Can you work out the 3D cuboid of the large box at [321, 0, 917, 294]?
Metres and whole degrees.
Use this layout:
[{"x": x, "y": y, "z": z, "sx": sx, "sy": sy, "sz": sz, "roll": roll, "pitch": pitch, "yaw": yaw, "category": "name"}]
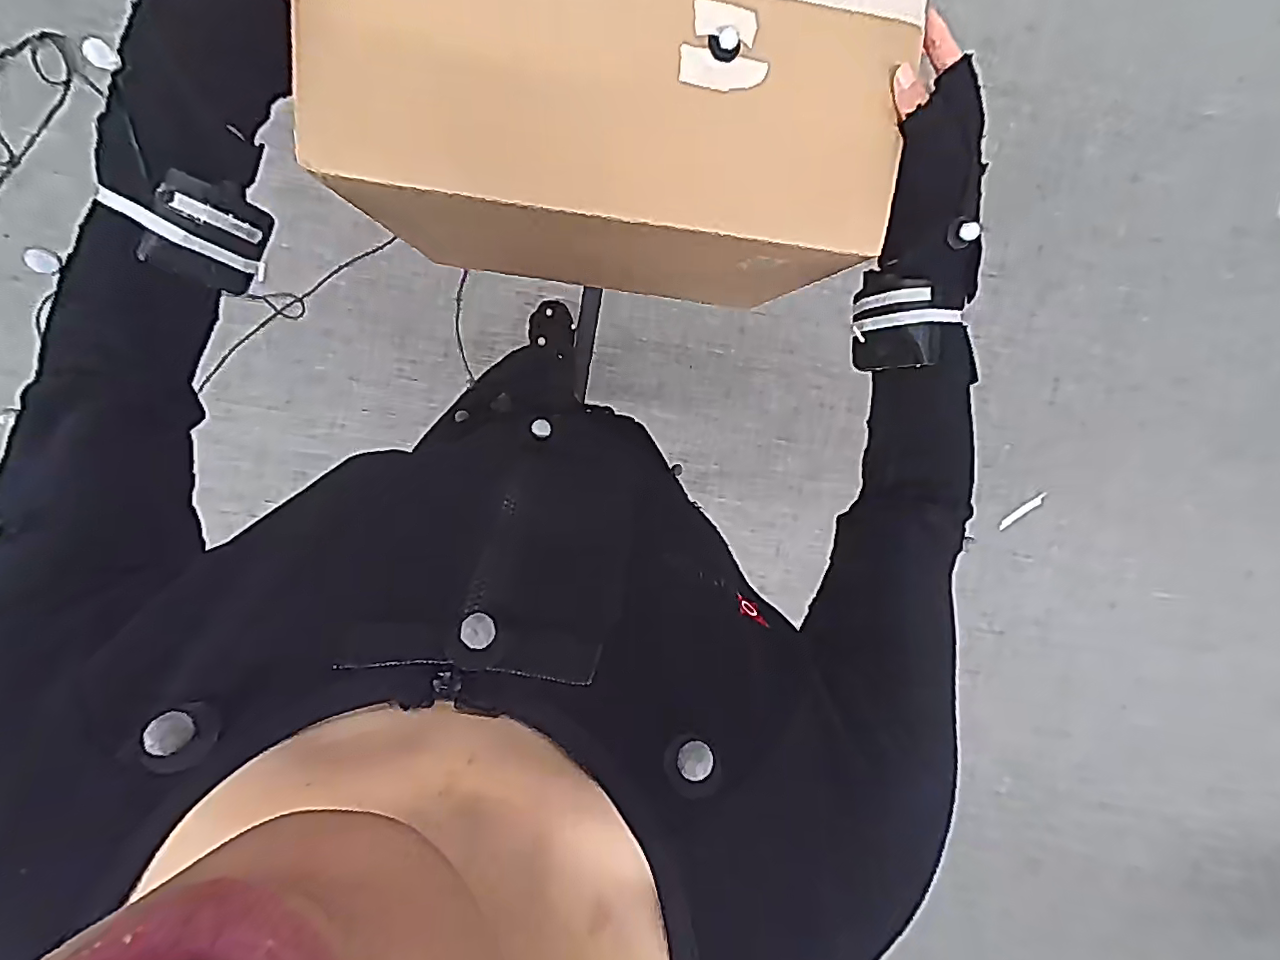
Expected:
[{"x": -0.019, "y": -0.374, "z": 0.503, "sx": 0.408, "sy": 0.320, "sz": 0.320, "roll": 5, "pitch": 101, "yaw": -7, "category": "large box"}]
